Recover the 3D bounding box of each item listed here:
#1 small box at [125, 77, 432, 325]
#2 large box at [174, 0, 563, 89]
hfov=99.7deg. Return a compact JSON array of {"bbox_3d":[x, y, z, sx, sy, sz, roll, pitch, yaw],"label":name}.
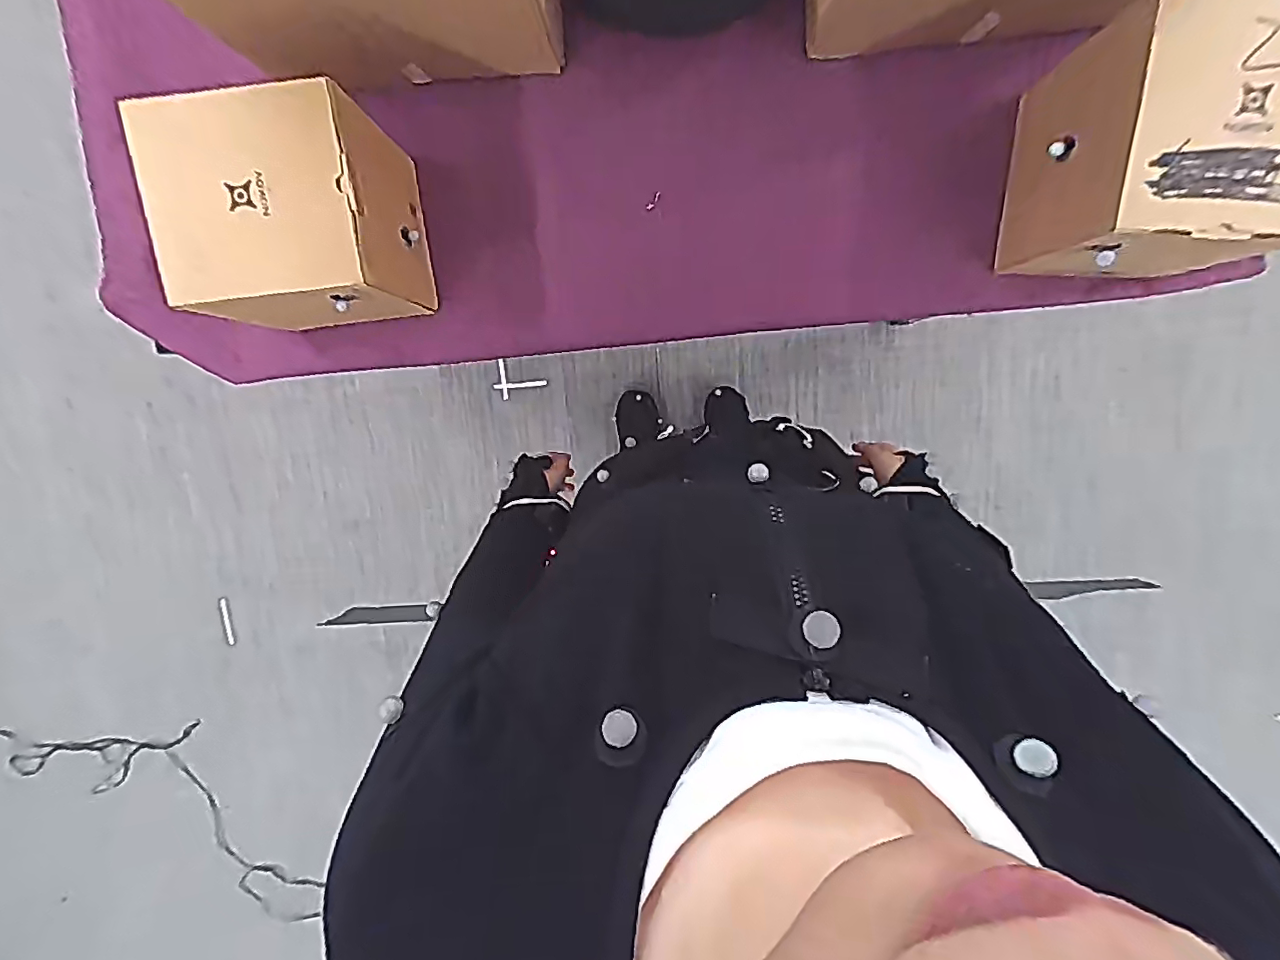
[{"bbox_3d":[-0.335,-0.256,0.540,0.179,0.176,0.168,-7,99,1],"label":"small box"},{"bbox_3d":[-0.249,-0.597,0.405,0.320,0.320,0.408,-2,103,4],"label":"large box"}]
